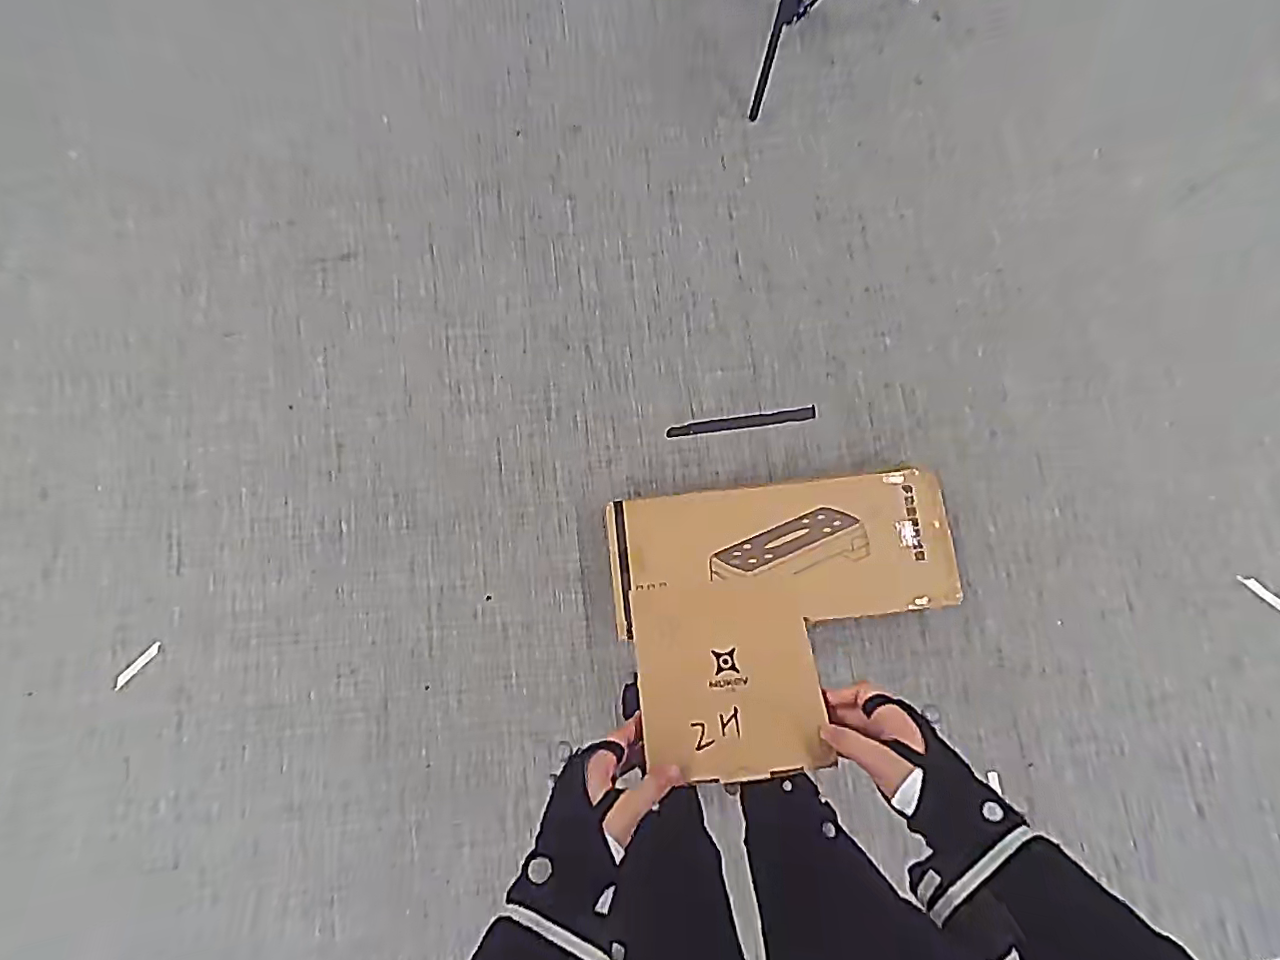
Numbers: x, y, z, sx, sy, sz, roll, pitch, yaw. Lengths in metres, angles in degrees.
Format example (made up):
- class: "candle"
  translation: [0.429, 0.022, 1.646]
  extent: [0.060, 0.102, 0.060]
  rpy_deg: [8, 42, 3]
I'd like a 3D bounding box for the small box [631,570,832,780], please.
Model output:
- class: "small box"
  translation: [0.080, 0.211, 0.572]
  extent: [0.168, 0.176, 0.179]
  rpy_deg: [-7, 62, 0]
